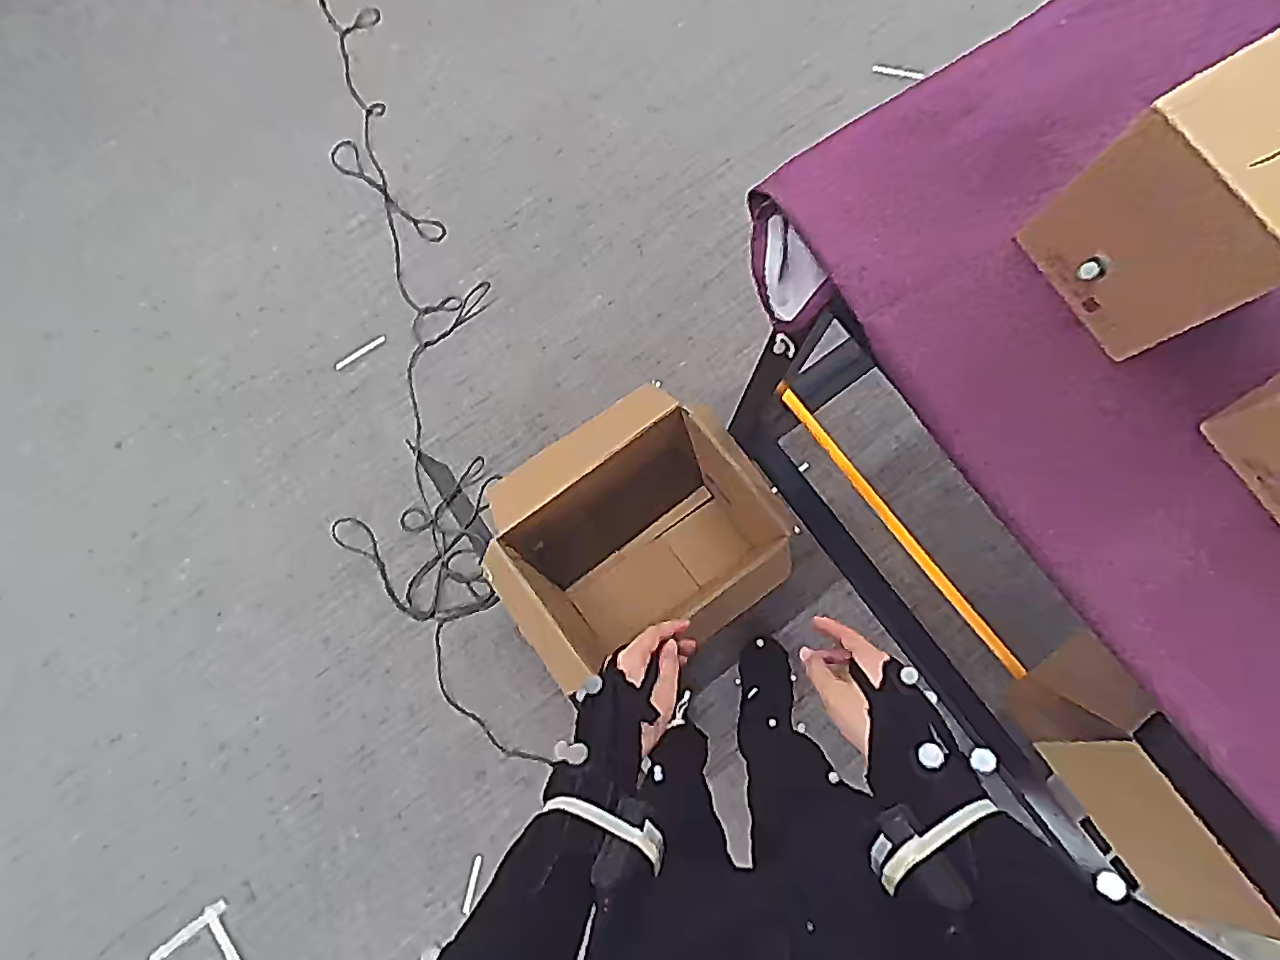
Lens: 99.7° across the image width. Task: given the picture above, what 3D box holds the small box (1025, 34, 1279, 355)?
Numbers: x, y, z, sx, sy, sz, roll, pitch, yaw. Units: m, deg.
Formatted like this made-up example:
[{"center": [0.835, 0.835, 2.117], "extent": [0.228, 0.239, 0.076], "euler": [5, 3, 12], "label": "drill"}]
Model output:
[{"center": [0.502, -0.242, 0.474], "extent": [0.179, 0.176, 0.168], "euler": [-30, 80, -3], "label": "small box"}]
